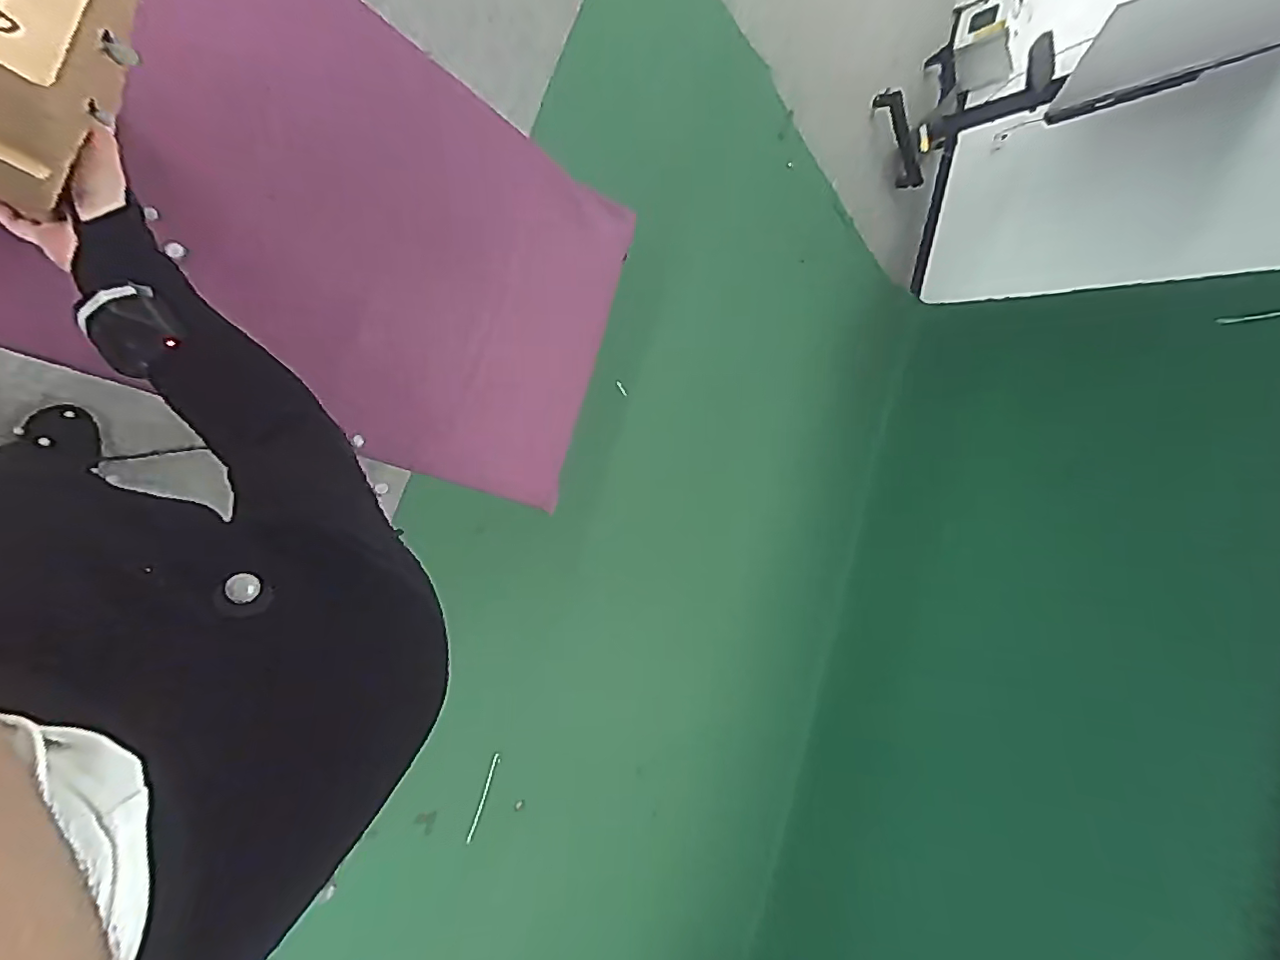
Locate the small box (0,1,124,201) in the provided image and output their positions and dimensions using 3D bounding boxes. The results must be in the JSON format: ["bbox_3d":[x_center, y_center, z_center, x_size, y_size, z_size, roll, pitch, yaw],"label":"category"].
[{"bbox_3d":[-0.504,-0.334,0.385,0.168,0.176,0.179,24,81,-47],"label":"small box"}]

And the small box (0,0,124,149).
[{"bbox_3d":[-0.383,-0.317,0.275,0.168,0.176,0.179,22,83,-46],"label":"small box"}]
